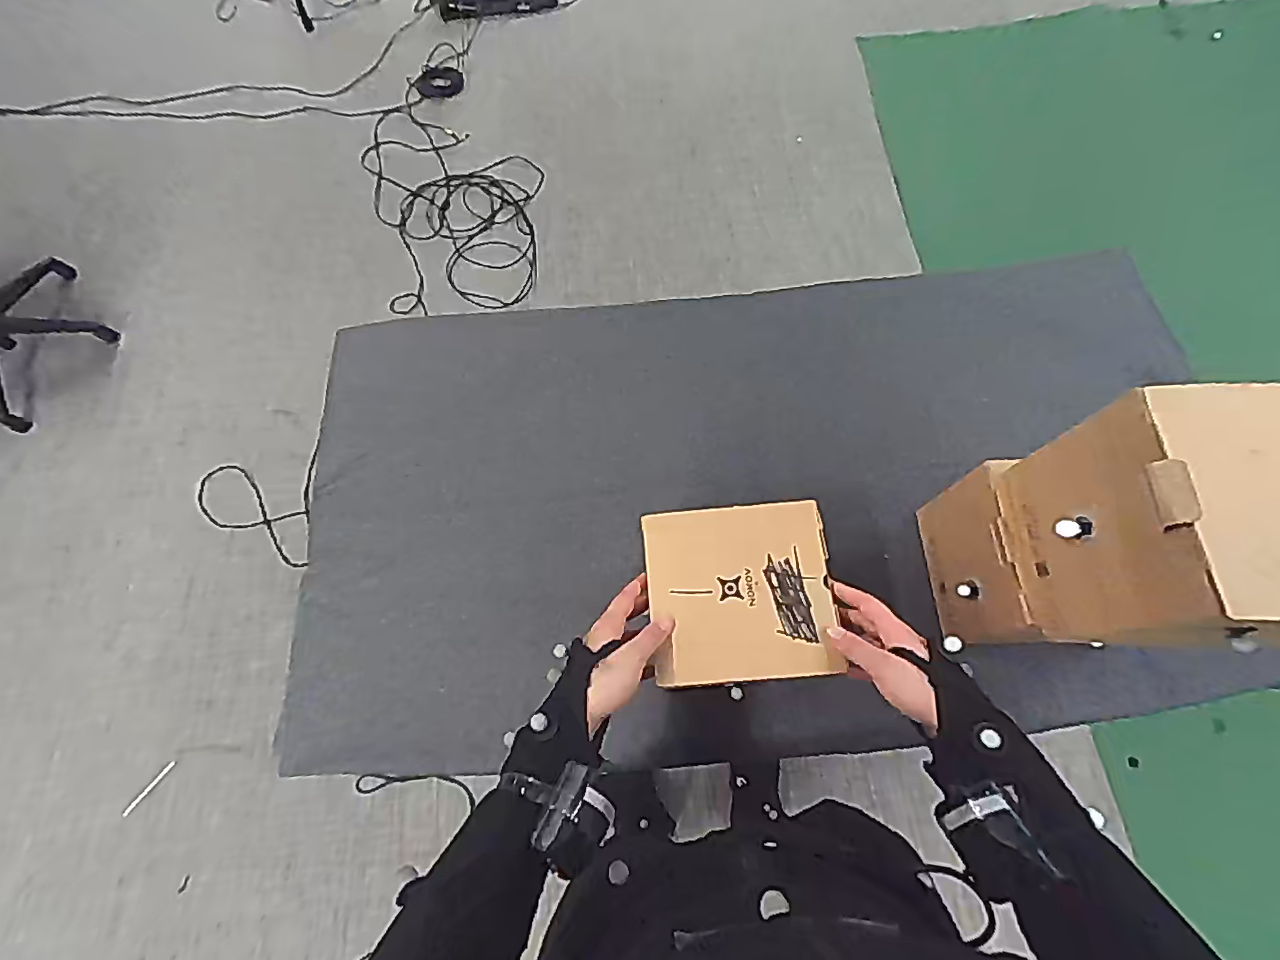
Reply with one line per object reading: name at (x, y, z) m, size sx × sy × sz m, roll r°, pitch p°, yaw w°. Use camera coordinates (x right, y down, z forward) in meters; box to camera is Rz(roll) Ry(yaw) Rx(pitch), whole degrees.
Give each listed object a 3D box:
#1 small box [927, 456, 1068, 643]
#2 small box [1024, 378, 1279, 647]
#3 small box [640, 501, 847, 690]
small box at (0.432, 0.081, 0.575) m, size 0.179 × 0.176 × 0.168 m, roll -2°, pitch 69°, yaw 2°
small box at (0.435, 0.037, 0.416) m, size 0.179 × 0.176 × 0.168 m, roll 1°, pitch 69°, yaw 4°
small box at (0.096, 0.130, 0.576) m, size 0.179 × 0.176 × 0.168 m, roll -5°, pitch 68°, yaw 3°
